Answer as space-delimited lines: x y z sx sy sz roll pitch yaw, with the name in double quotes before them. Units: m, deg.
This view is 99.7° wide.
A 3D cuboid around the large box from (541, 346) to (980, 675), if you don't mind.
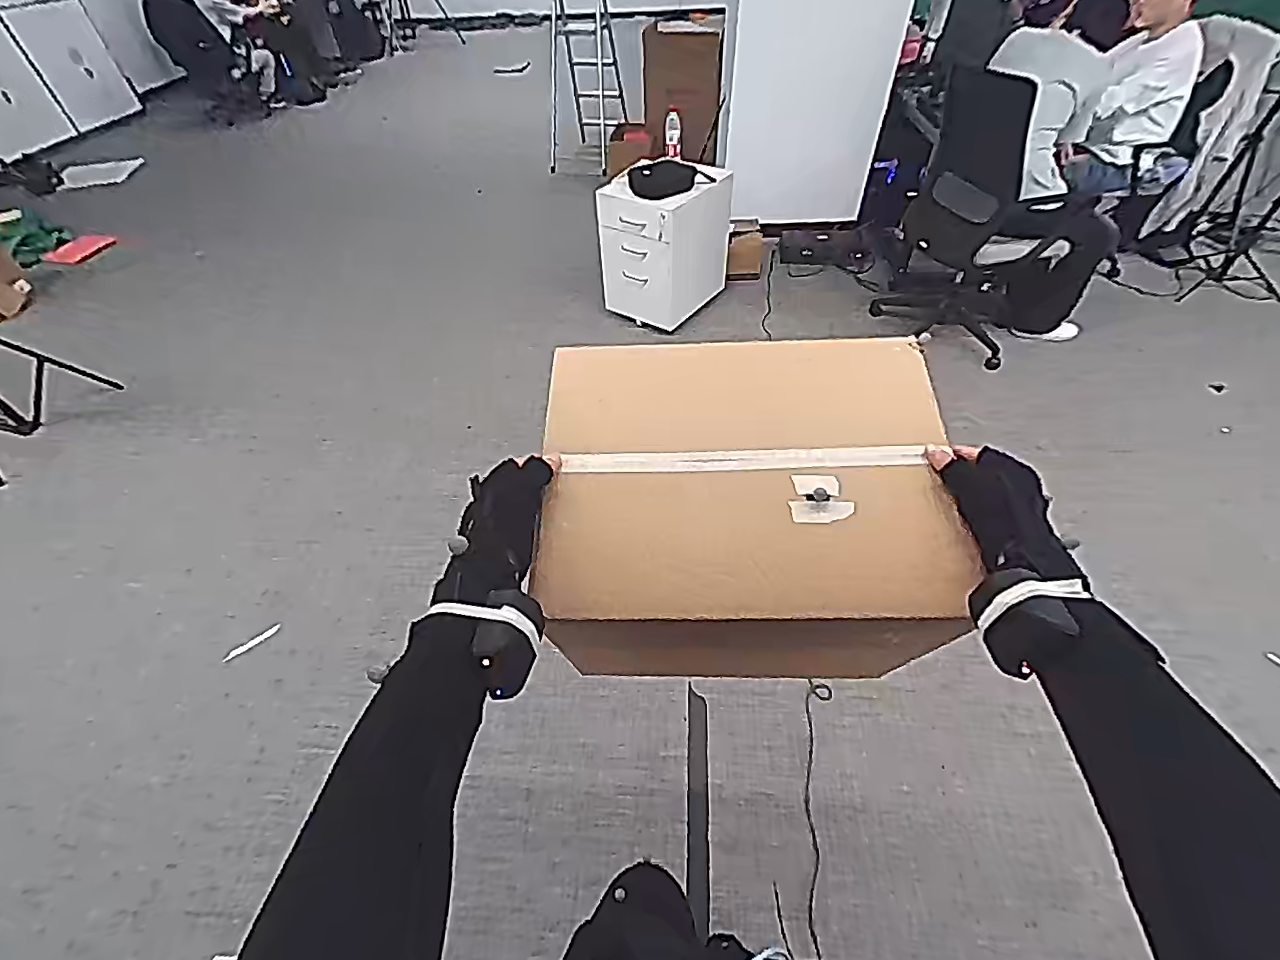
"large box" 0.111 0.058 0.686 0.408 0.320 0.320 -1 62 3
